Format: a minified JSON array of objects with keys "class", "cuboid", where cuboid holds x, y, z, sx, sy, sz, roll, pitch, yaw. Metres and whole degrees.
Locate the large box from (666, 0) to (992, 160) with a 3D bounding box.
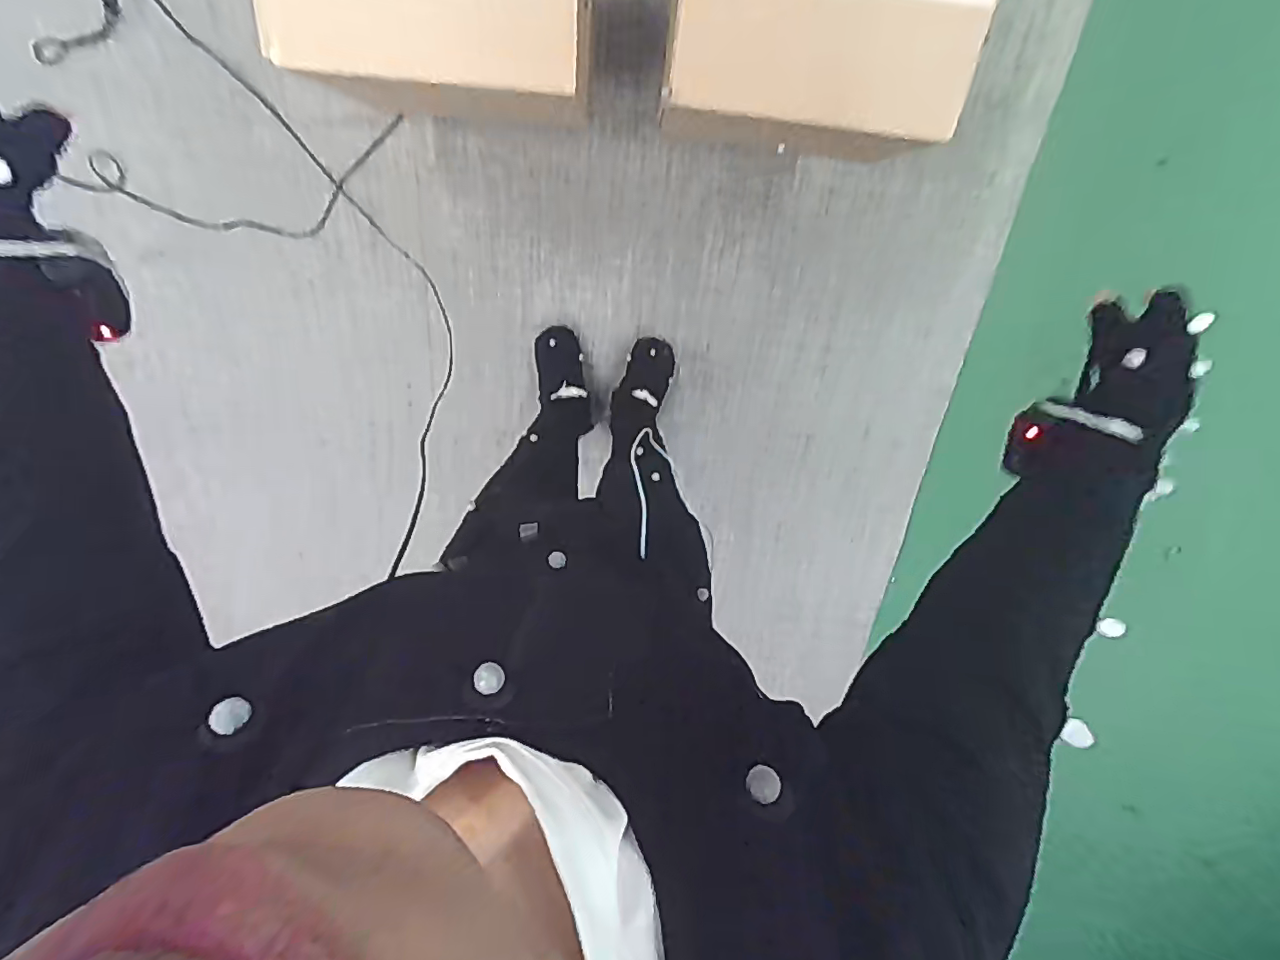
[{"class":"large box","cuboid":[0.263,-0.700,0.832,0.408,0.320,0.320,6,115,-3]}]
